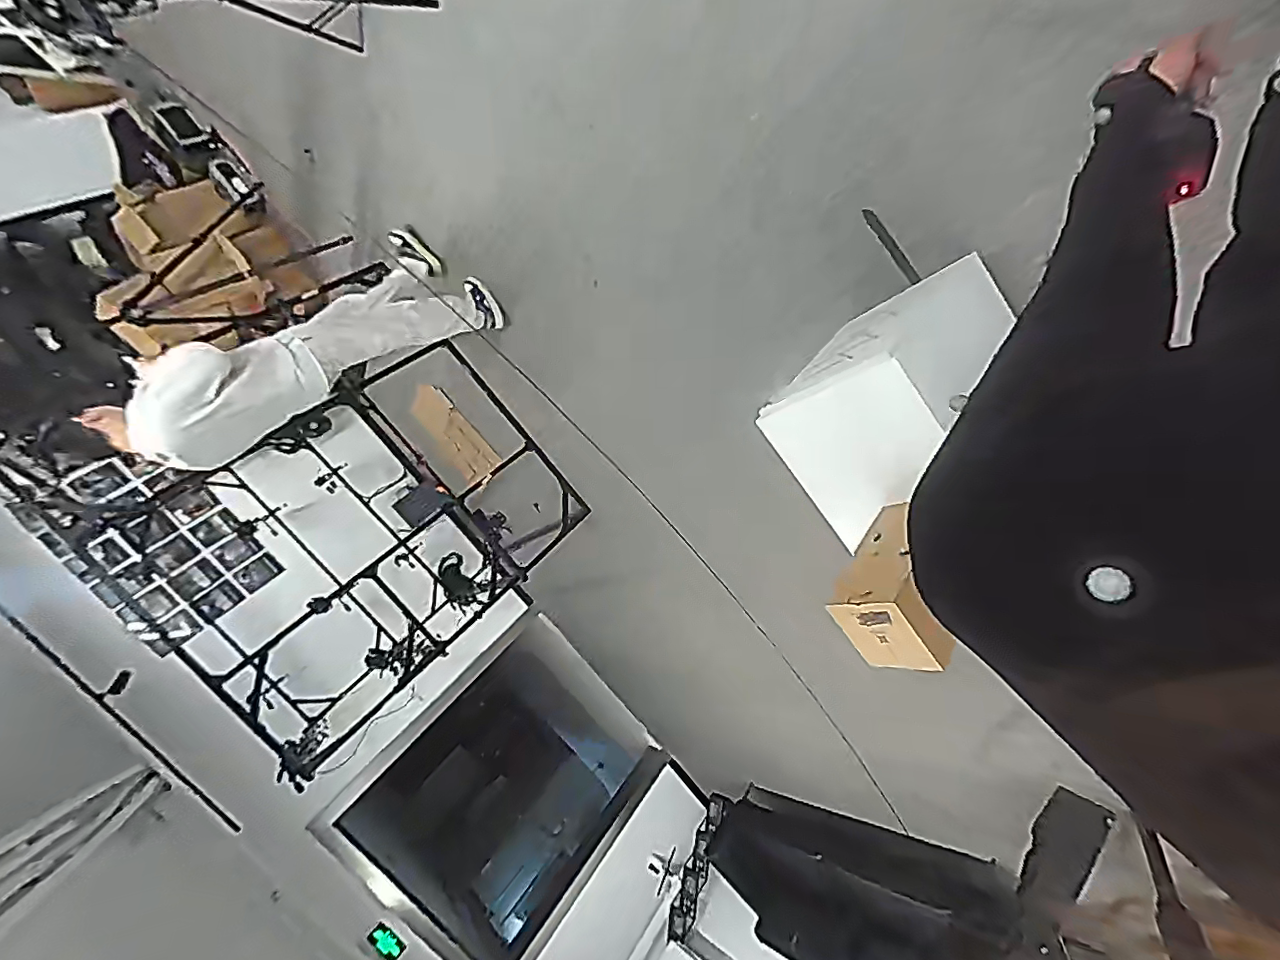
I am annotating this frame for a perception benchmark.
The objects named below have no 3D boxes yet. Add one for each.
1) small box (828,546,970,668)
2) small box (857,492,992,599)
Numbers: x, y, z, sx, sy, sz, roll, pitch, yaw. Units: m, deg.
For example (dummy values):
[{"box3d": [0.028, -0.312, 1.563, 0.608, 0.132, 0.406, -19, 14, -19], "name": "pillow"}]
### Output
[{"box3d": [0.522, 0.248, 1.089, 0.179, 0.176, 0.168, 51, 150, -9], "name": "small box"}, {"box3d": [0.621, 0.150, 1.177, 0.168, 0.176, 0.179, 51, 149, -8], "name": "small box"}]
